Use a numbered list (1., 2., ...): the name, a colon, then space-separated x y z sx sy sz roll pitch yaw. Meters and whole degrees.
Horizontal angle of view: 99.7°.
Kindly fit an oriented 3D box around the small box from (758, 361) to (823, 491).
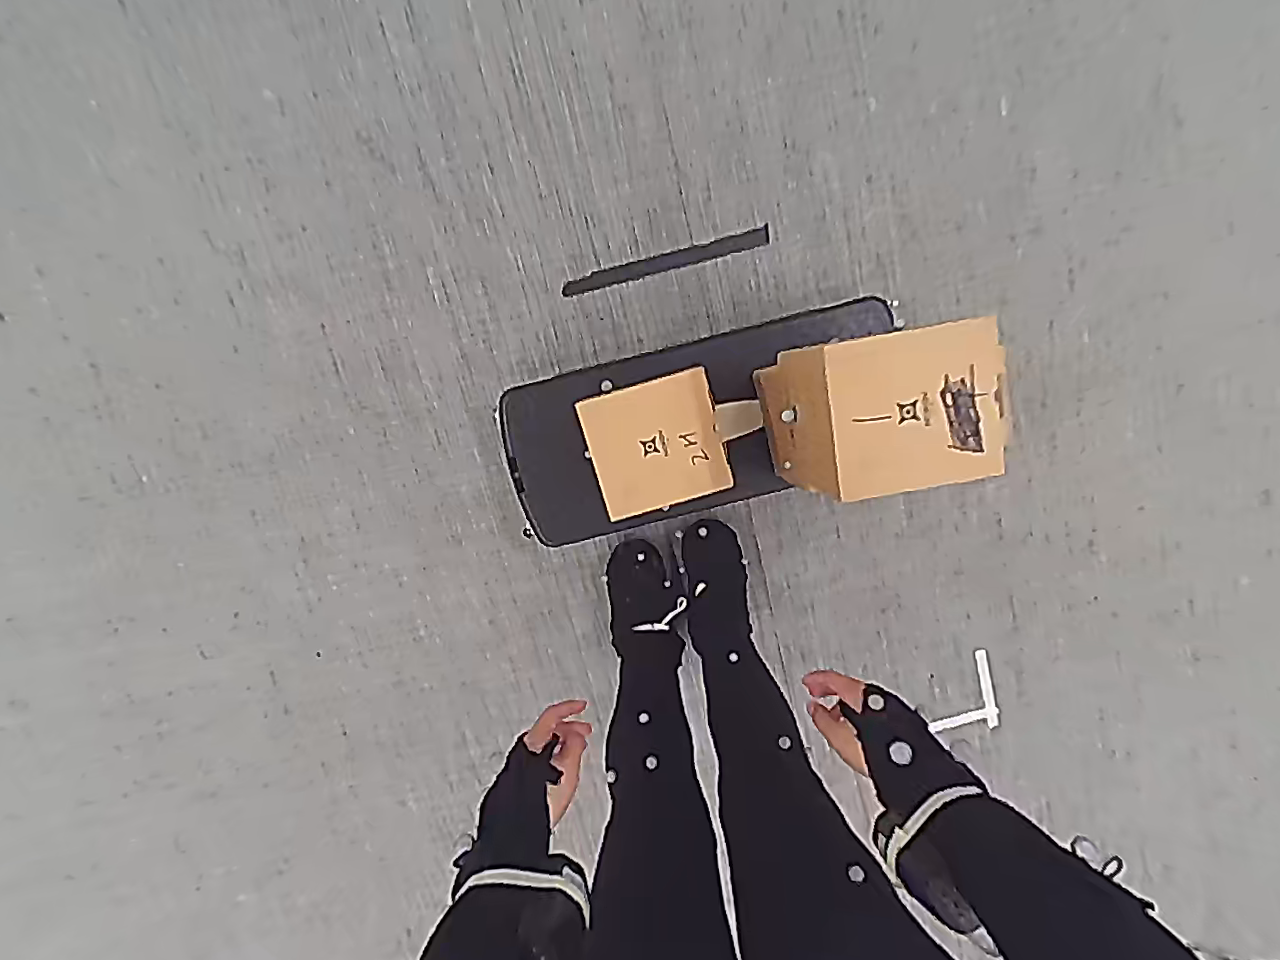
1. small box: 0.283 -0.100 0.788 0.168 0.176 0.179 -16 101 1

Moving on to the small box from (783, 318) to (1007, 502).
1. small box: 0.281 -0.084 0.623 0.179 0.176 0.168 -10 100 1
